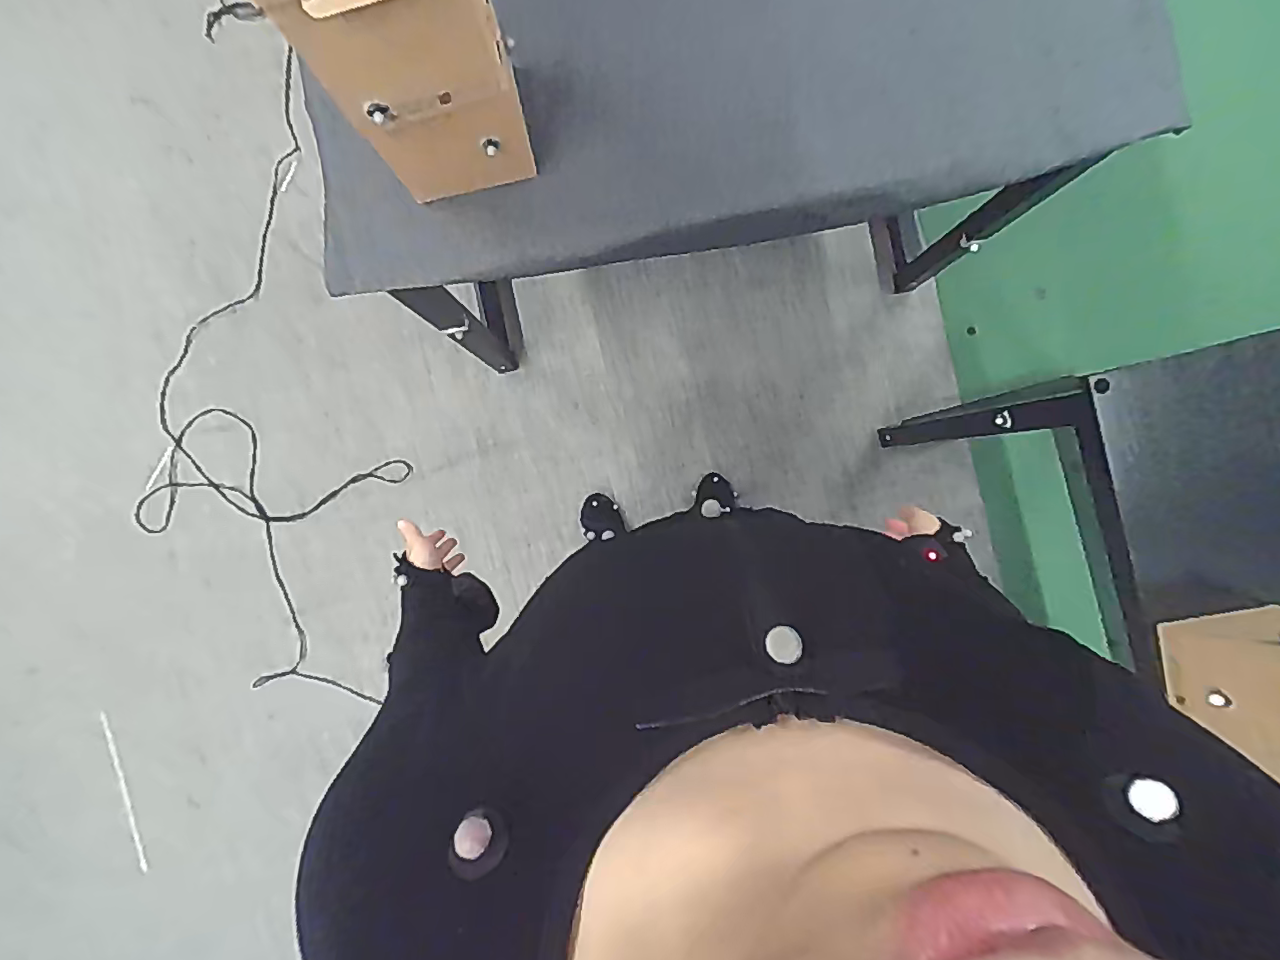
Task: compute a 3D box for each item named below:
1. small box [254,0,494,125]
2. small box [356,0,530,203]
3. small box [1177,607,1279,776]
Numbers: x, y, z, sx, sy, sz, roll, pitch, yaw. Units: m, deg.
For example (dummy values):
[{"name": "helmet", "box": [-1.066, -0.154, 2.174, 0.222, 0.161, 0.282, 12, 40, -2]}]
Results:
[{"name": "small box", "box": [-0.259, -0.484, 0.521, 0.168, 0.176, 0.179, -18, 88, 0]}, {"name": "small box", "box": [-0.248, -0.486, 0.685, 0.179, 0.176, 0.168, -14, 88, 1]}, {"name": "small box", "box": [0.837, 0.270, 0.681, 0.179, 0.176, 0.168, -10, 91, 1]}]
